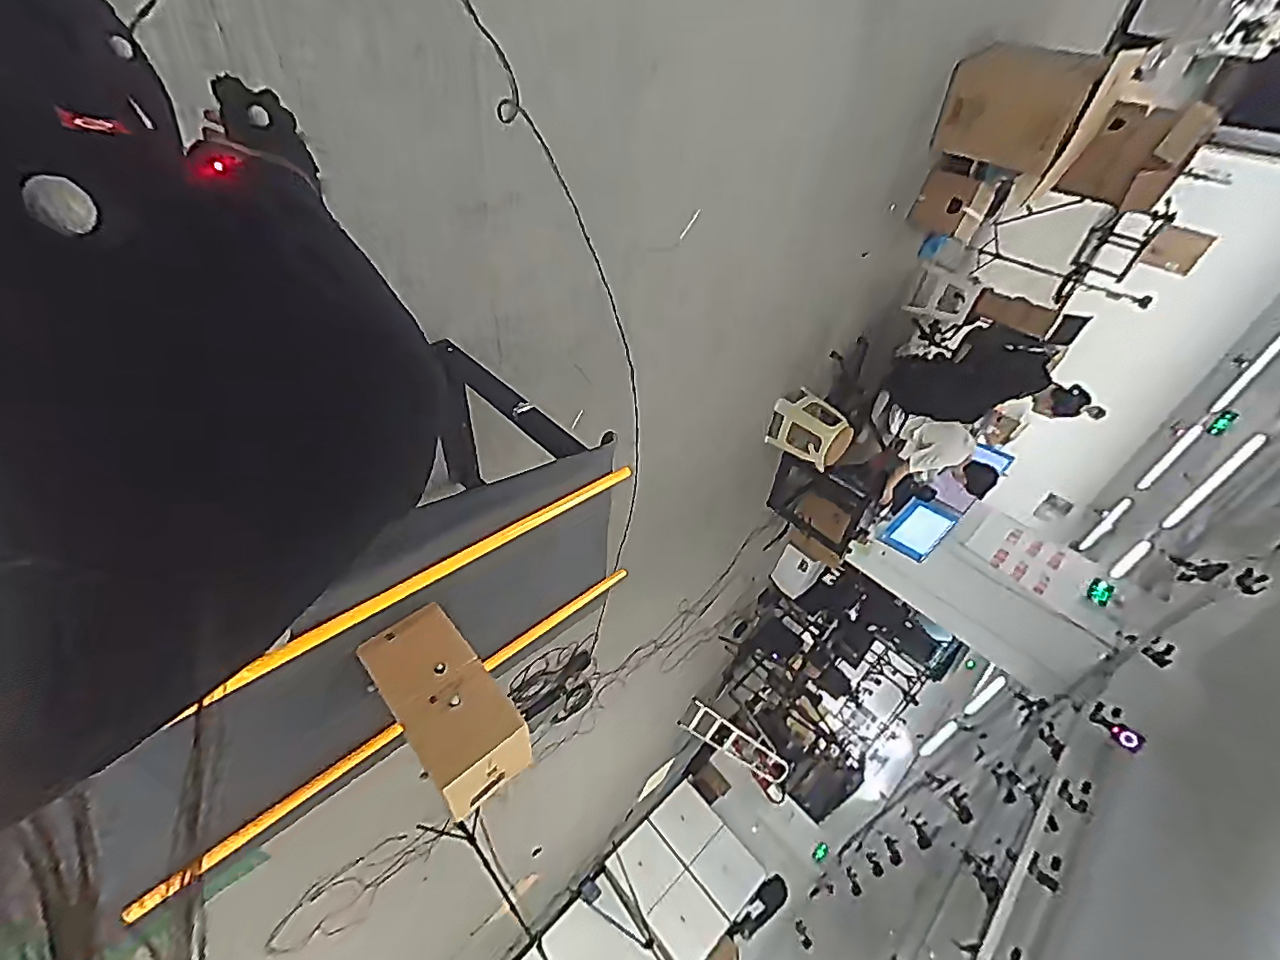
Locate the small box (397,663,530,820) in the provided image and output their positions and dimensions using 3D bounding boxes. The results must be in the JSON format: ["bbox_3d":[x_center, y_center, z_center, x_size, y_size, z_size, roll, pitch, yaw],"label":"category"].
[{"bbox_3d":[-0.322,0.476,1.003,0.168,0.176,0.179,-30,143,-33],"label":"small box"}]

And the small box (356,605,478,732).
[{"bbox_3d":[-0.434,0.385,1.081,0.168,0.176,0.179,-32,146,-33],"label":"small box"}]
